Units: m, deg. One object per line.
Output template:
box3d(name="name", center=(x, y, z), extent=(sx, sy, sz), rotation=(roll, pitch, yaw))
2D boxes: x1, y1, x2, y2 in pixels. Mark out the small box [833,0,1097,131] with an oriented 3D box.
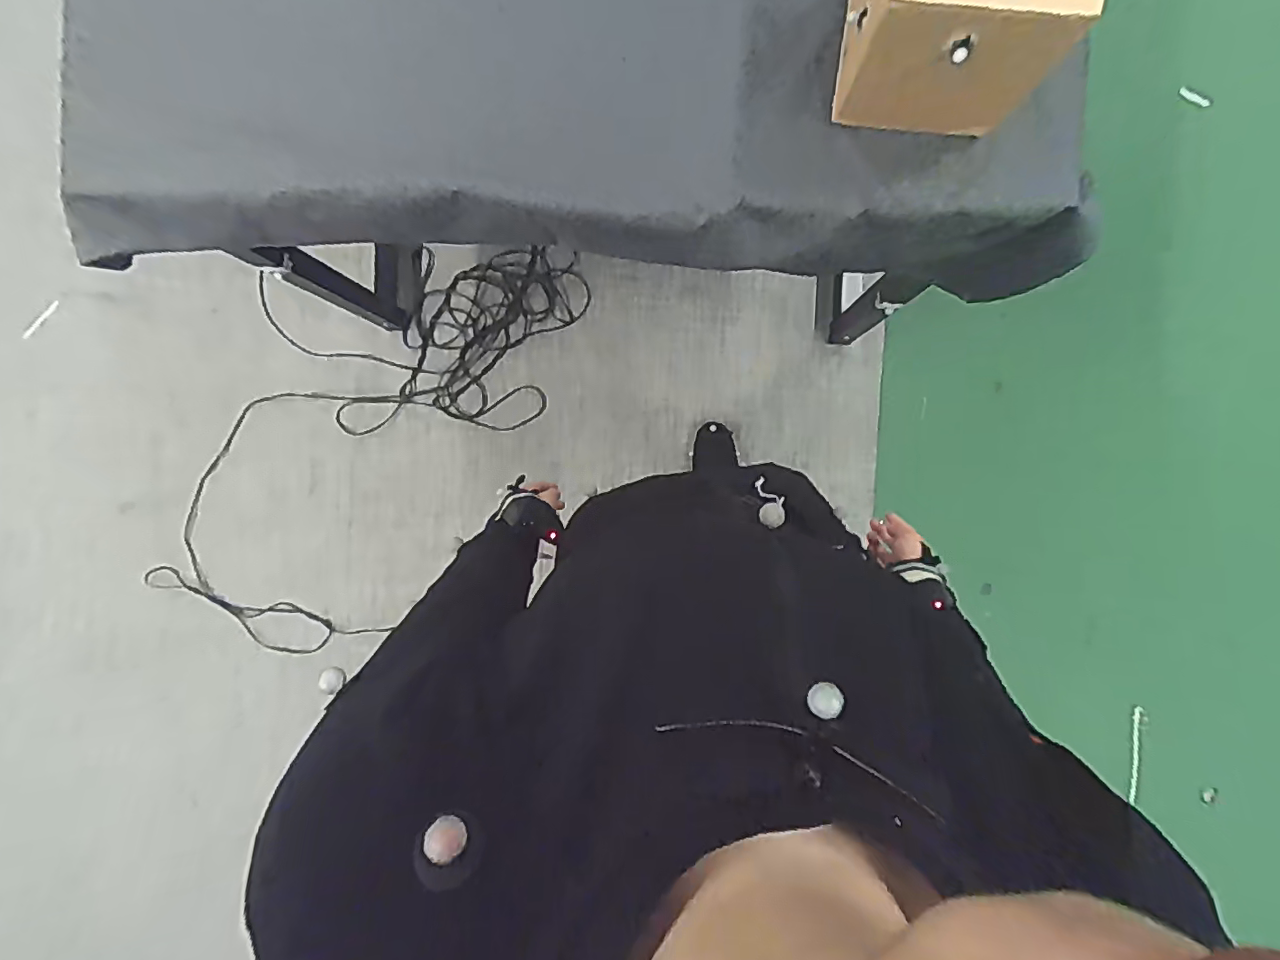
box3d(name="small box", center=(0.304, -0.475, 0.527), extent=(0.179, 0.176, 0.168), rotation=(8, 92, 3))
